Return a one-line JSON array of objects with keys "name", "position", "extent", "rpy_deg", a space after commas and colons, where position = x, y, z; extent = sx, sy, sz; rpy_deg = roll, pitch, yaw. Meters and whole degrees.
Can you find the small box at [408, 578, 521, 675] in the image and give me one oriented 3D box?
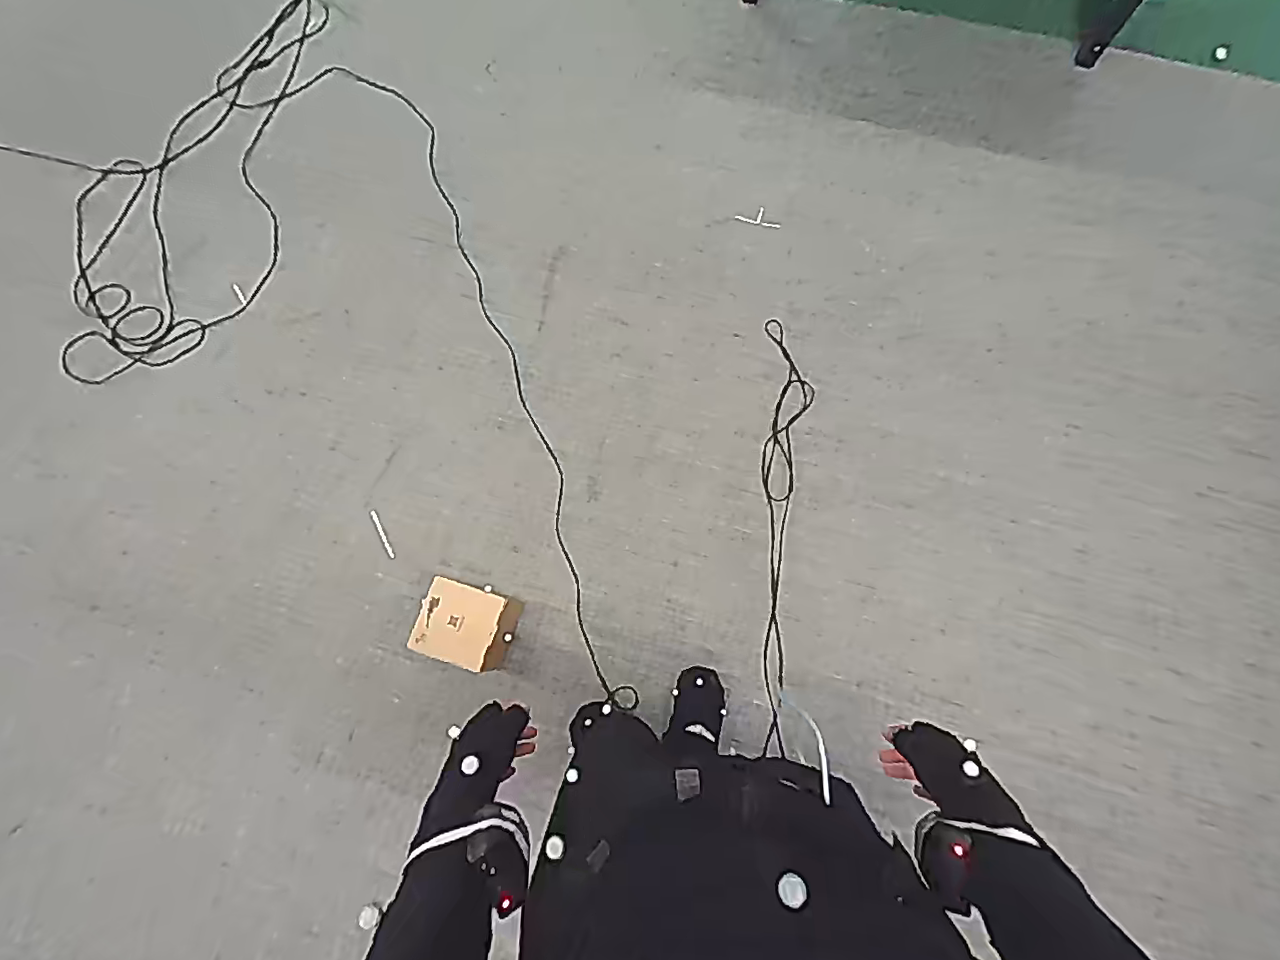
[{"name": "small box", "position": [-0.394, 0.336, 1.254], "extent": [0.179, 0.176, 0.168], "rpy_deg": [17, 75, 6]}]
